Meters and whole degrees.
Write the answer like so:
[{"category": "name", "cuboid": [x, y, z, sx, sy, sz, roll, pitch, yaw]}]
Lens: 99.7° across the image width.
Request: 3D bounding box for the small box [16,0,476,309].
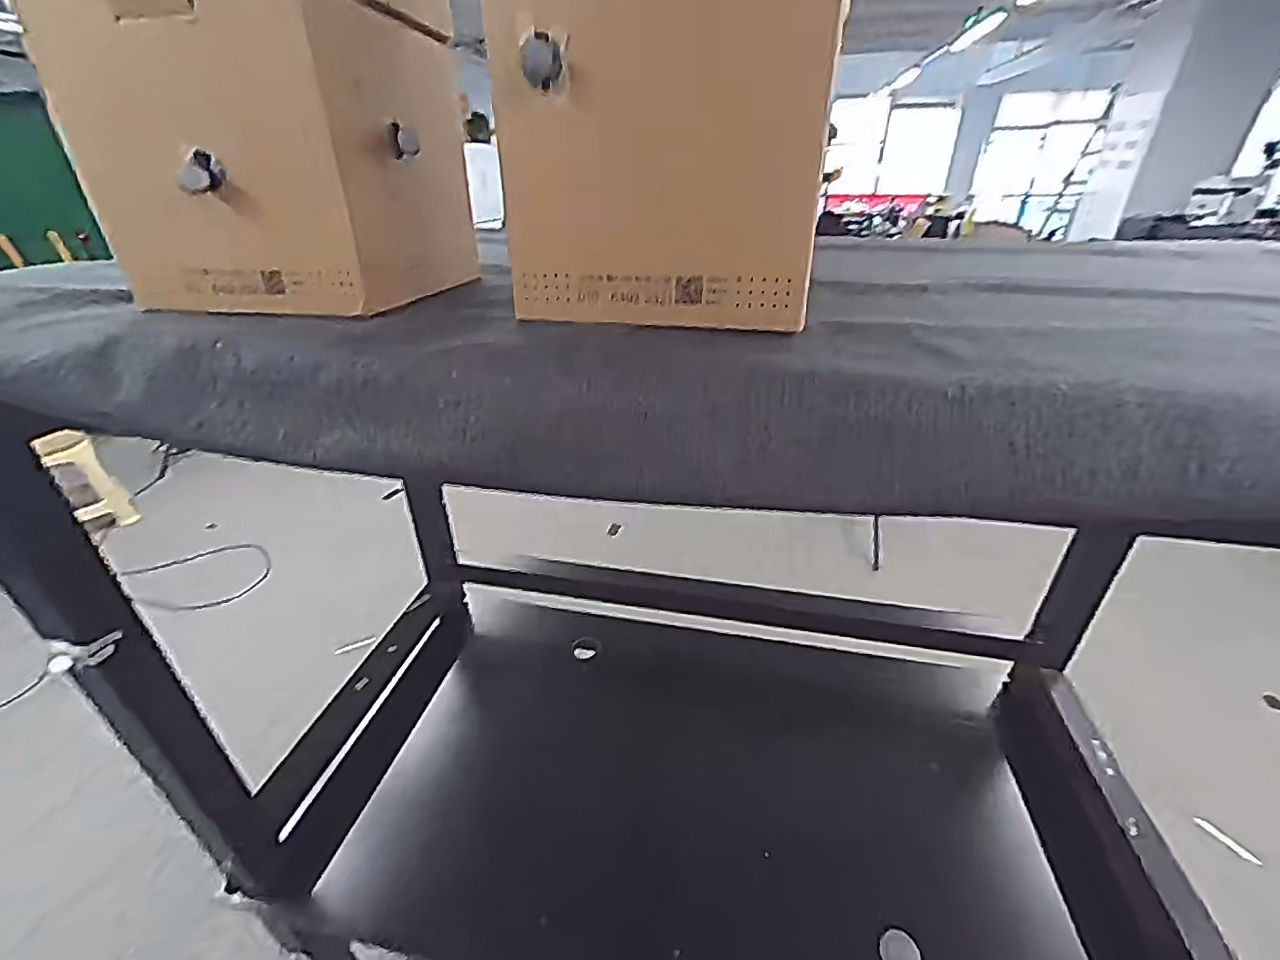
[{"category": "small box", "cuboid": [-0.228, -0.220, 0.375, 0.168, 0.176, 0.179, 4, 29, 6]}]
